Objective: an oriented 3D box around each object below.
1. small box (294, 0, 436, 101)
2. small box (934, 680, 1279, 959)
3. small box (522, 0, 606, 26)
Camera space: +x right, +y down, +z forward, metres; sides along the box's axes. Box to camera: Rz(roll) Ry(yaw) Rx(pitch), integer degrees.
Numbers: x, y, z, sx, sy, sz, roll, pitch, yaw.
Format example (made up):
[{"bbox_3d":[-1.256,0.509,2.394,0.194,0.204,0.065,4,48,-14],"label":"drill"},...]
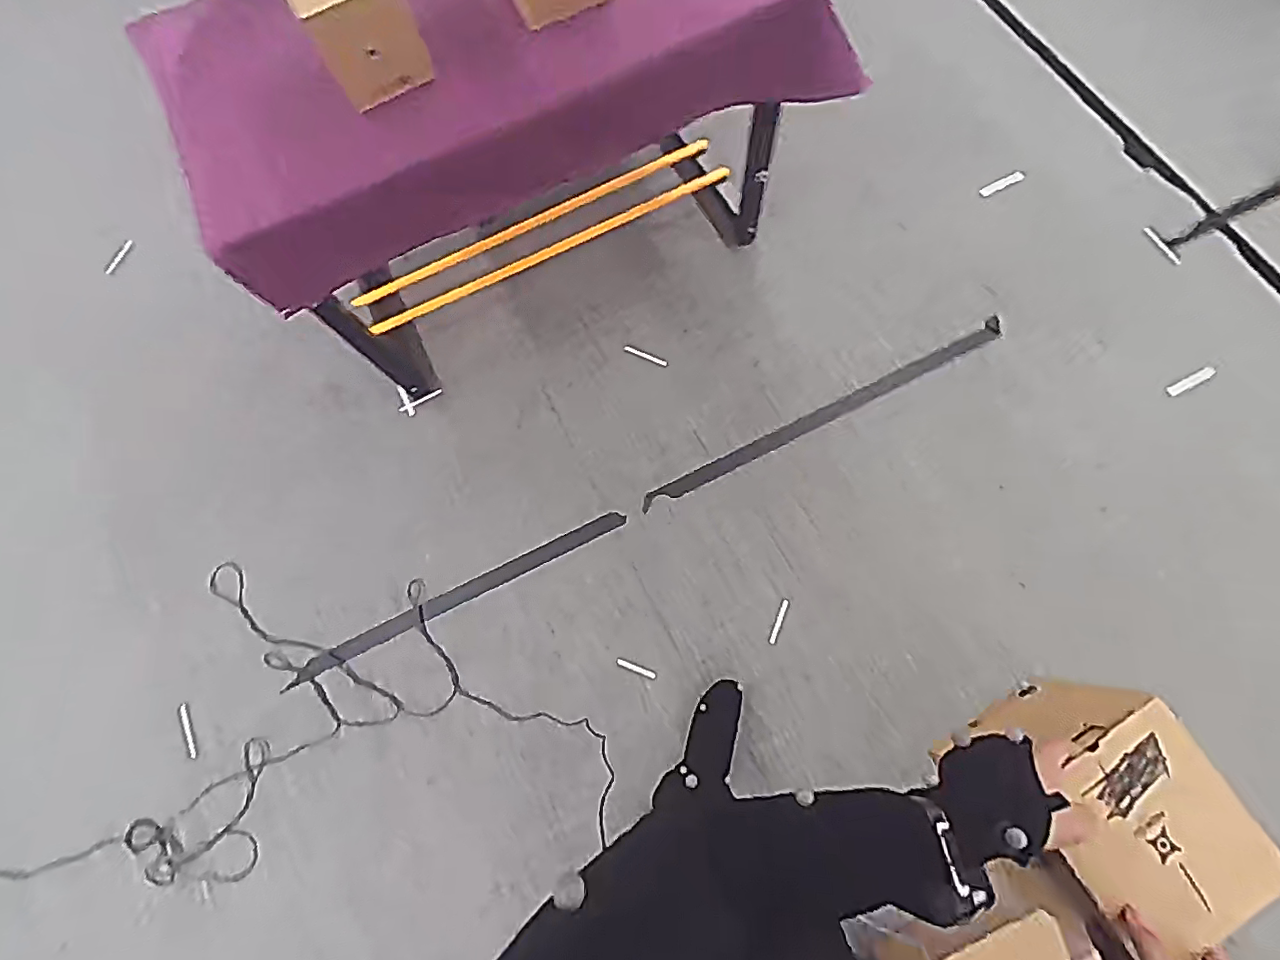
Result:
[{"bbox_3d":[-0.486,-0.808,0.945,0.168,0.176,0.179,-28,75,-4],"label":"small box"},{"bbox_3d":[0.445,0.321,0.544,0.168,0.176,0.179,-31,79,-7],"label":"small box"},{"bbox_3d":[-0.153,-0.978,0.969,0.179,0.176,0.168,-24,75,-2],"label":"small box"}]
